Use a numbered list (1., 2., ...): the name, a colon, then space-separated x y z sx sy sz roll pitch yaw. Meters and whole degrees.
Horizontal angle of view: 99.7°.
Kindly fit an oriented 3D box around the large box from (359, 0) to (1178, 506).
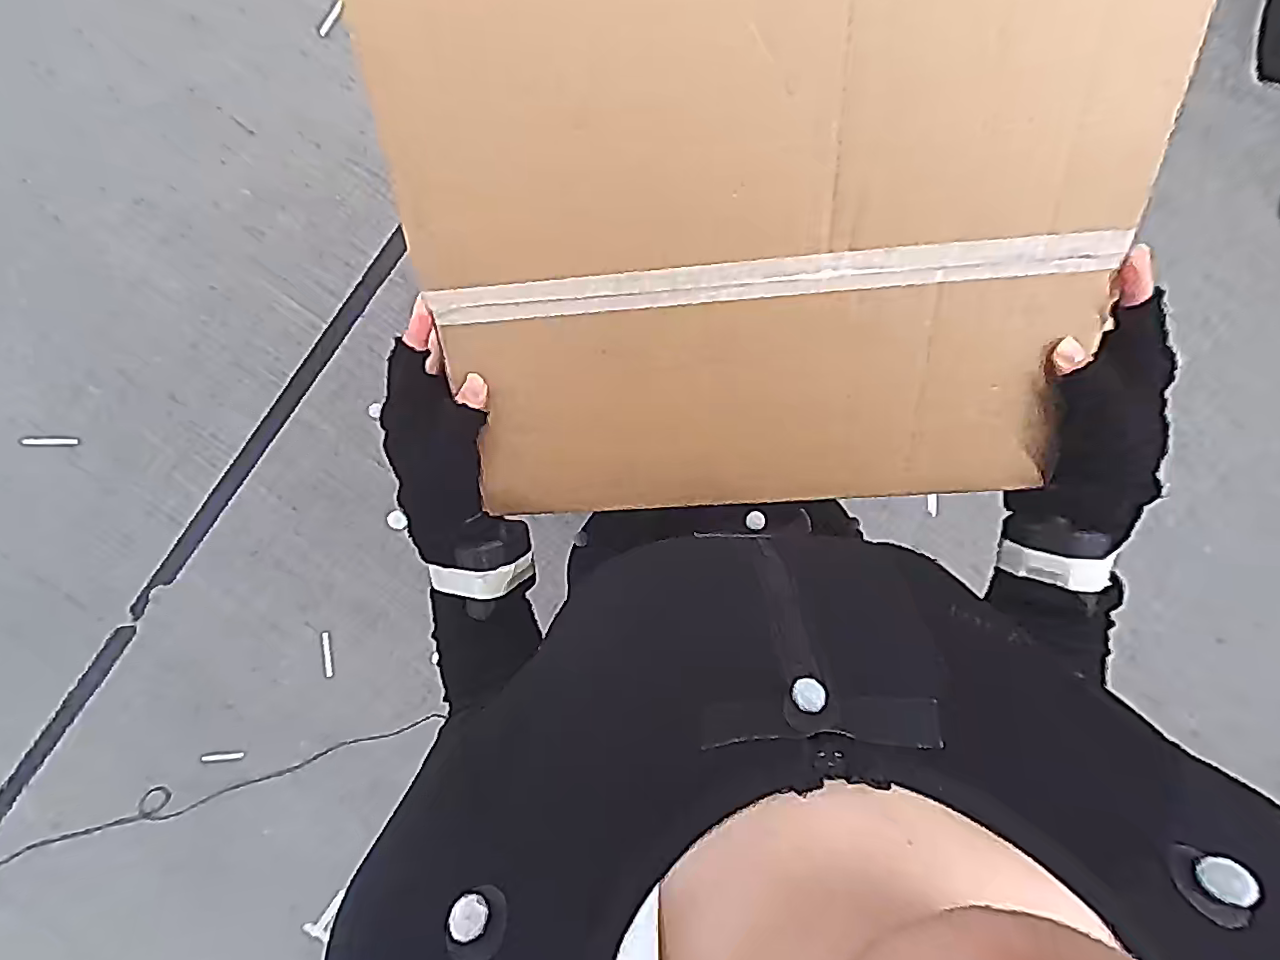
1. large box: 0.072 -0.199 0.455 0.408 0.320 0.320 -3 122 4
